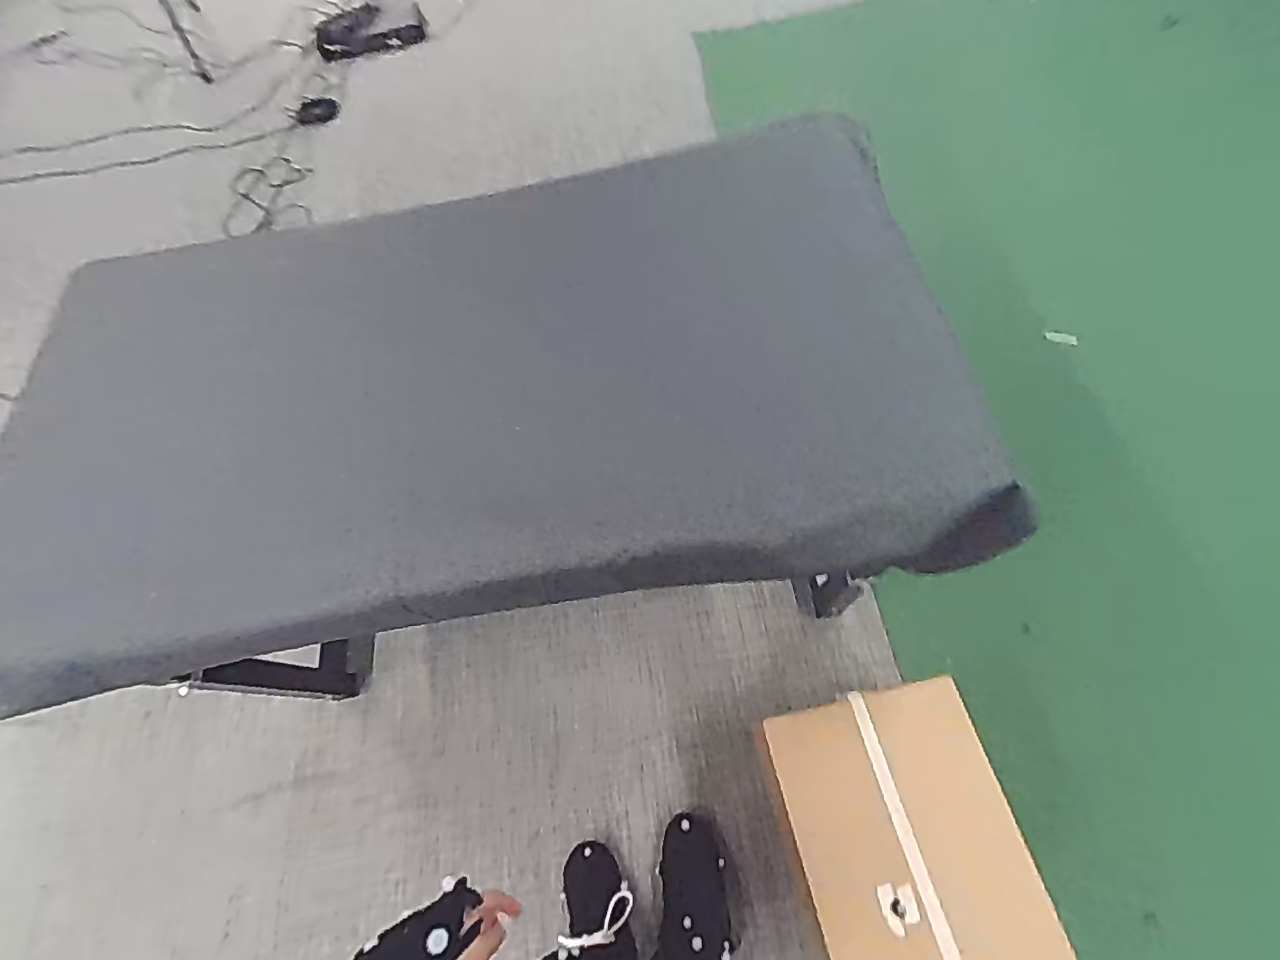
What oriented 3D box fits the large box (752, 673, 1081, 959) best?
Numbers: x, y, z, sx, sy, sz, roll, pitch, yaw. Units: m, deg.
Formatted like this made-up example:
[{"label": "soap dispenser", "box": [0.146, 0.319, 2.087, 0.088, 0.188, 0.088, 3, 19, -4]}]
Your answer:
[{"label": "large box", "box": [0.407, 0.578, 0.913, 0.320, 0.320, 0.408, -14, 65, 1]}]
